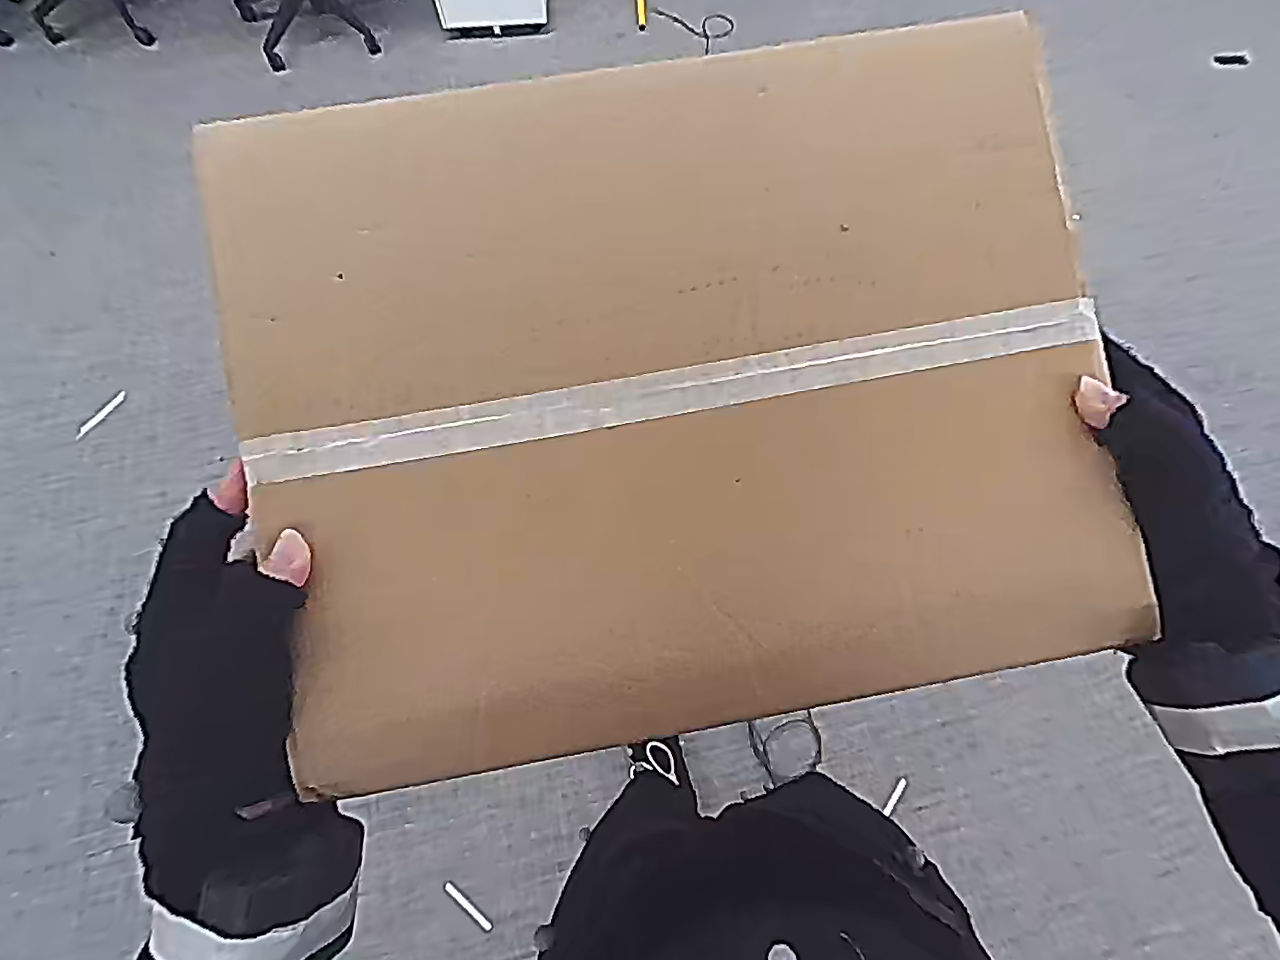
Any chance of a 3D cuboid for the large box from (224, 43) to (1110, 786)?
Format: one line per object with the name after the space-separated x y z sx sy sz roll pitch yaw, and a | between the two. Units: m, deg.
0.014 -0.037 0.415 0.408 0.320 0.320 -10 88 -3 | large box
